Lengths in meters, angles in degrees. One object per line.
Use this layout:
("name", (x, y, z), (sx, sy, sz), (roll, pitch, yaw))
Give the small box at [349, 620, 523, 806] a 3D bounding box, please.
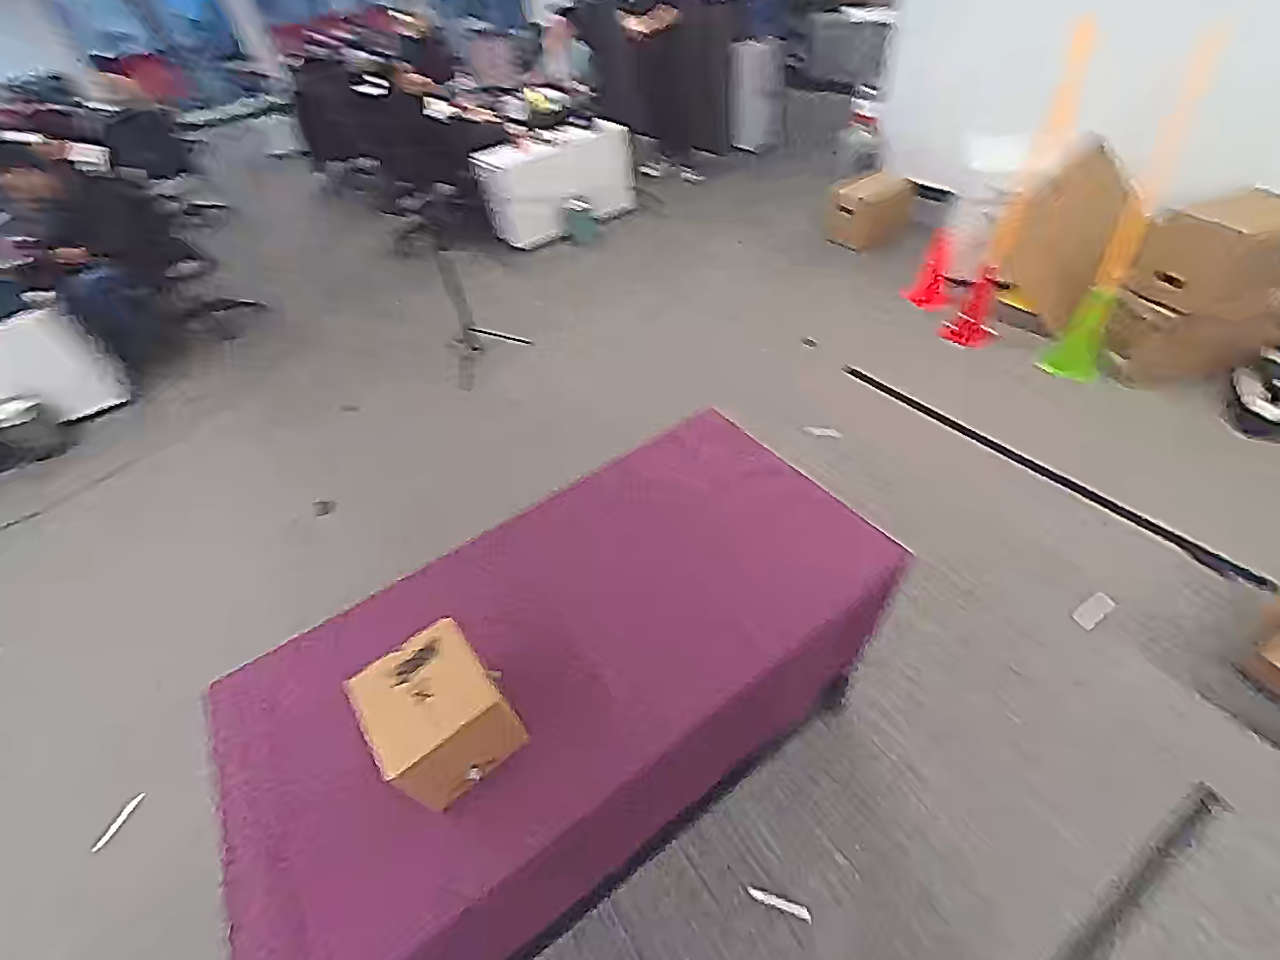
("small box", (-0.308, 0.361, 0.835), (0.168, 0.176, 0.179), (-34, 51, -21))
